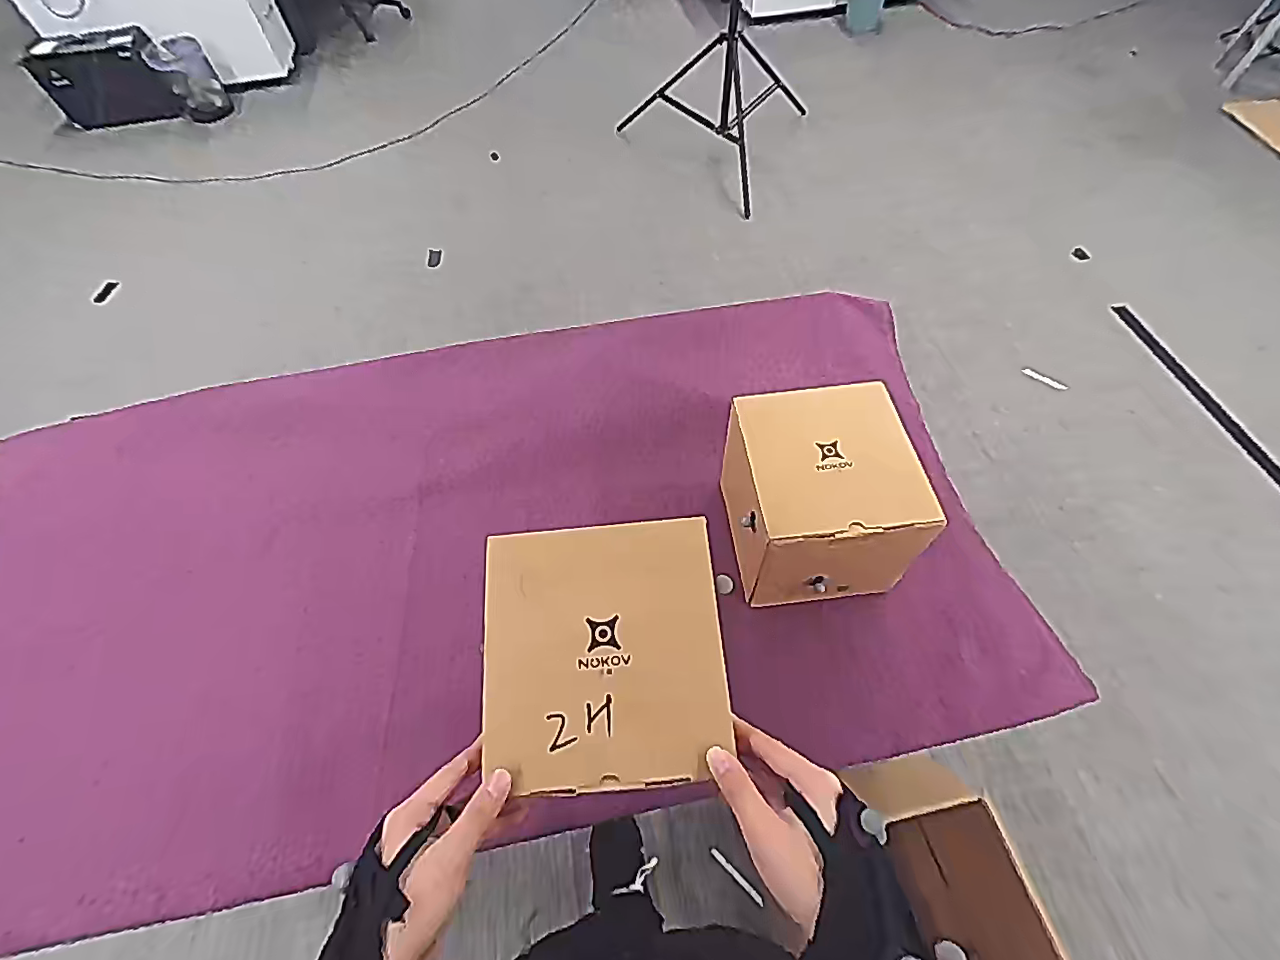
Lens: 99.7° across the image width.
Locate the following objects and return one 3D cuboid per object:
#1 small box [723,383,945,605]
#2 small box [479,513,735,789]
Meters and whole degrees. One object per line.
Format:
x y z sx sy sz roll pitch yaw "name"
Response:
0.191 0.020 0.600 0.168 0.176 0.179 -8 57 -1 "small box"
-0.022 0.142 0.447 0.168 0.176 0.179 -6 67 2 "small box"
